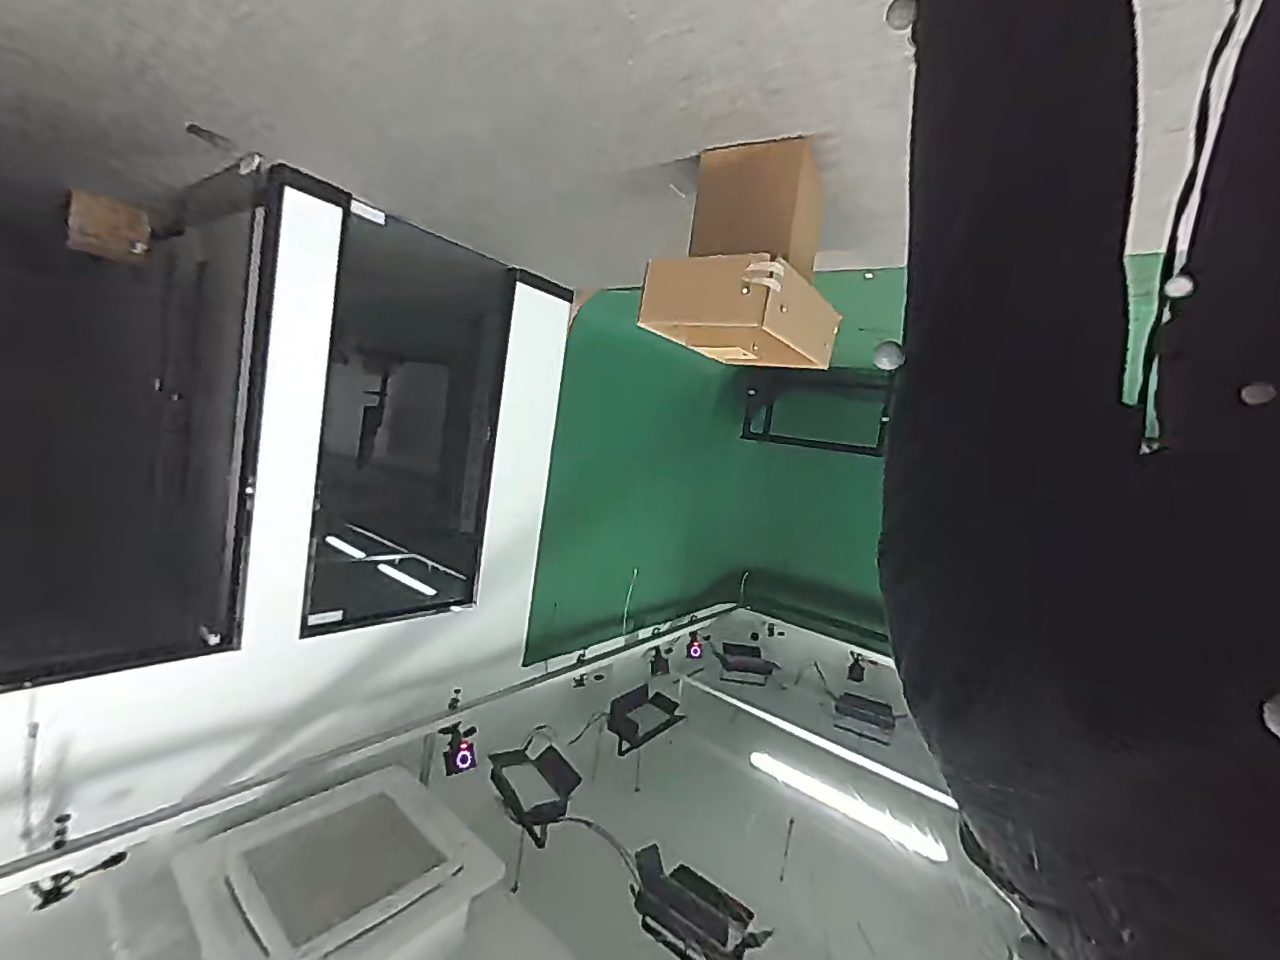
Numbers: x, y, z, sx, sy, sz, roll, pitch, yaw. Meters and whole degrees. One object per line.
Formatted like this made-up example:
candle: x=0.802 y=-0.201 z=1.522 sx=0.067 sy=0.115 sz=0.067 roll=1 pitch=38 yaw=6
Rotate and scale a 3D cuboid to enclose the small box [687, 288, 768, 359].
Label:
small box: x=0.263 y=-0.467 z=1.612 sx=0.179 sy=0.176 sz=0.168 roll=12 pitch=-173 yaw=33
